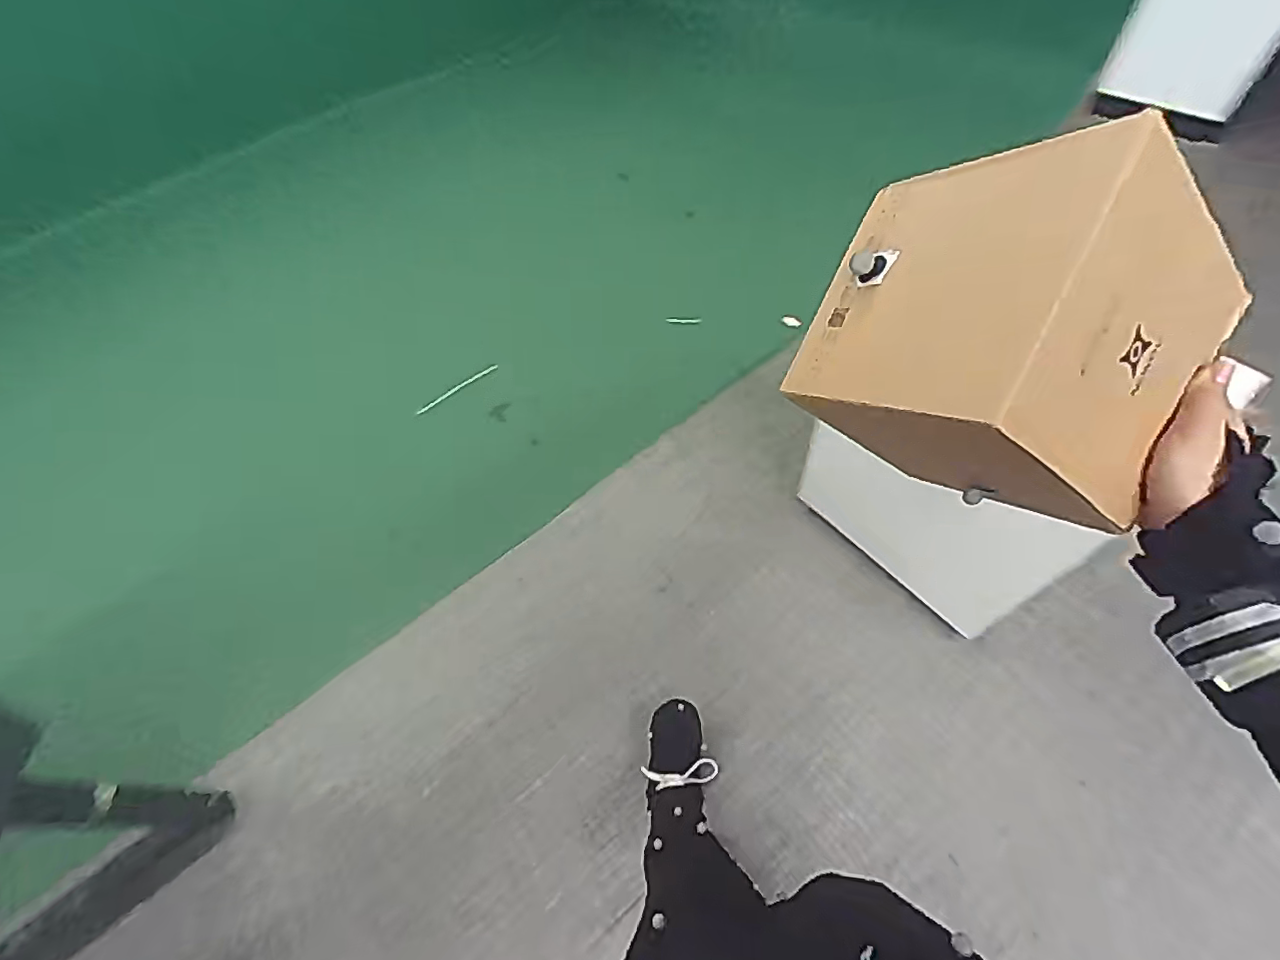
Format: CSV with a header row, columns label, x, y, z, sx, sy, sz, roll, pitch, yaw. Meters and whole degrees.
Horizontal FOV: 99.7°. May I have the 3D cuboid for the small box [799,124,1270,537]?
label,x,y,z,sx,sy,sz,roll,pitch,yaw
small box,0.249,-0.086,0.368,0.168,0.179,0.176,-64,27,2
